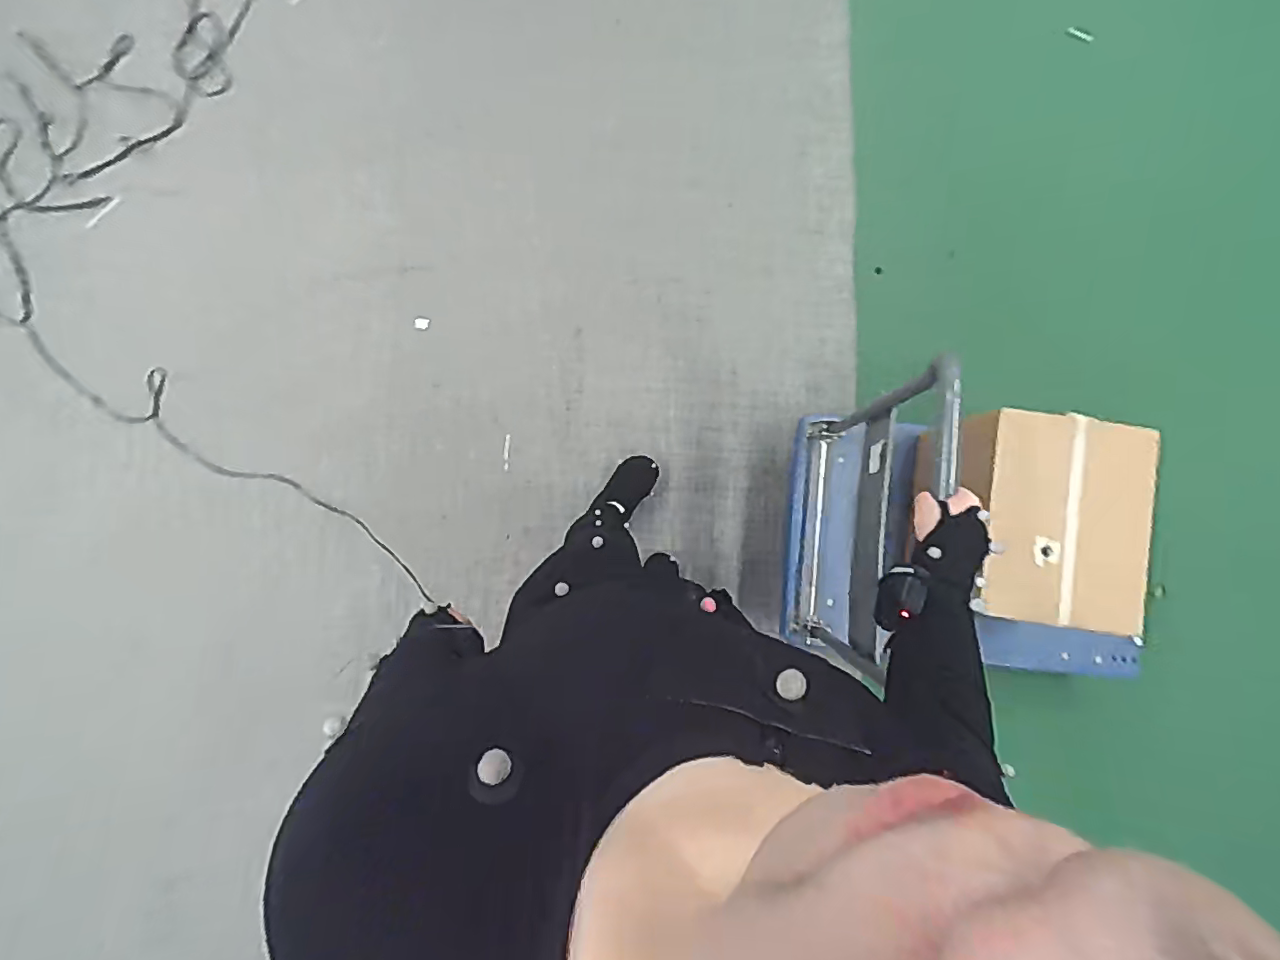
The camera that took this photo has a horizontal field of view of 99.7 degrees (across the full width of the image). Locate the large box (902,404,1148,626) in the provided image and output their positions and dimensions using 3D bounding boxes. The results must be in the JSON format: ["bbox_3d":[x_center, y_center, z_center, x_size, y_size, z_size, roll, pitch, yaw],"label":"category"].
[{"bbox_3d":[0.818,0.073,1.195,0.320,0.320,0.408,9,86,1],"label":"large box"}]
